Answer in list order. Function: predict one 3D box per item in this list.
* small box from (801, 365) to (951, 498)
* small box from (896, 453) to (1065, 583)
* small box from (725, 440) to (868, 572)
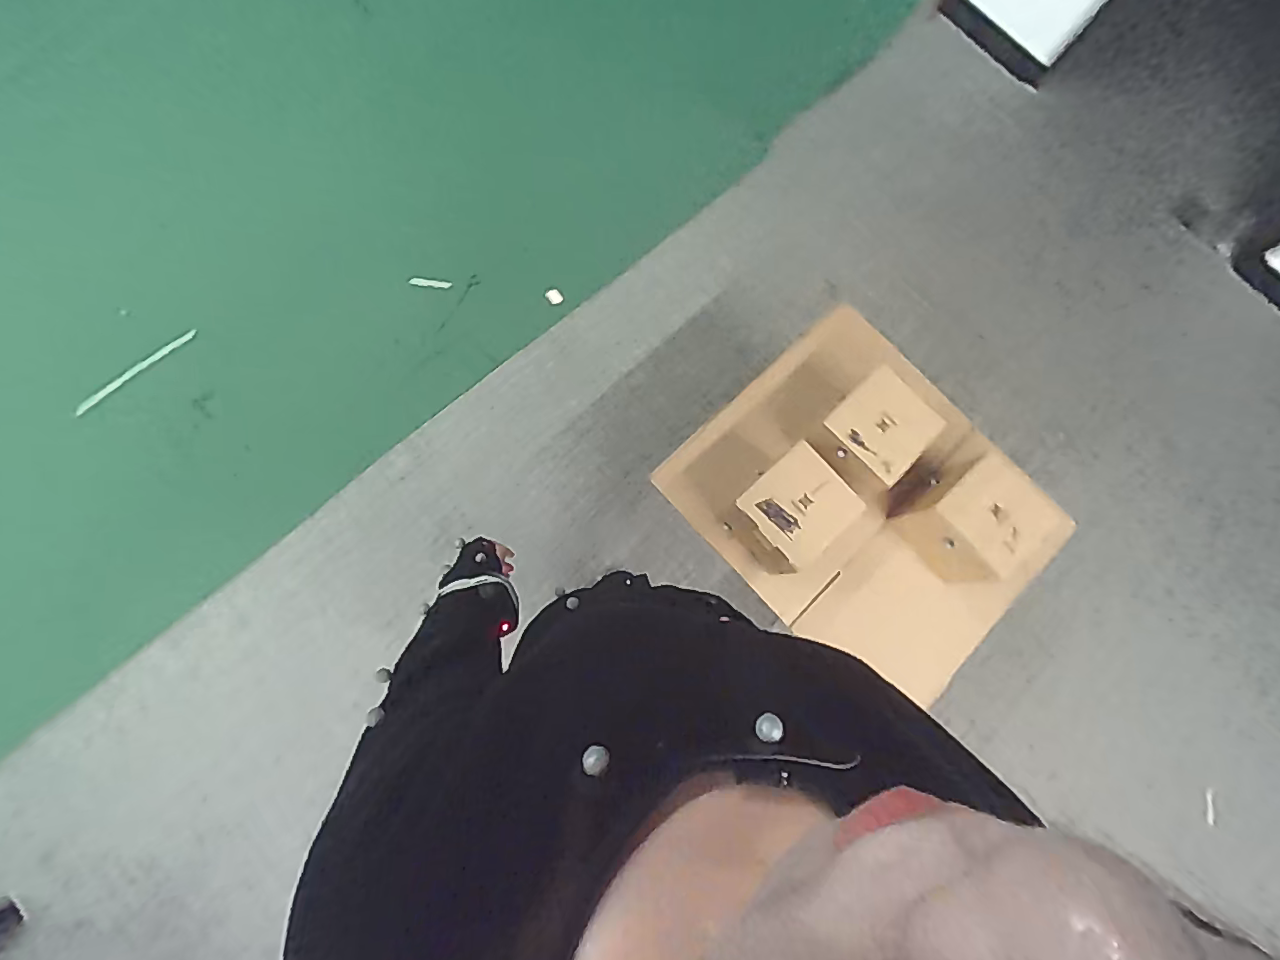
[{"bbox_3d":[0.443,-0.084,1.049,0.179,0.176,0.168,-43,84,-12],"label":"small box"},{"bbox_3d":[0.633,0.082,1.030,0.168,0.176,0.179,-39,82,-10],"label":"small box"},{"bbox_3d":[0.277,0.058,1.008,0.179,0.176,0.168,-40,84,-11],"label":"small box"}]
